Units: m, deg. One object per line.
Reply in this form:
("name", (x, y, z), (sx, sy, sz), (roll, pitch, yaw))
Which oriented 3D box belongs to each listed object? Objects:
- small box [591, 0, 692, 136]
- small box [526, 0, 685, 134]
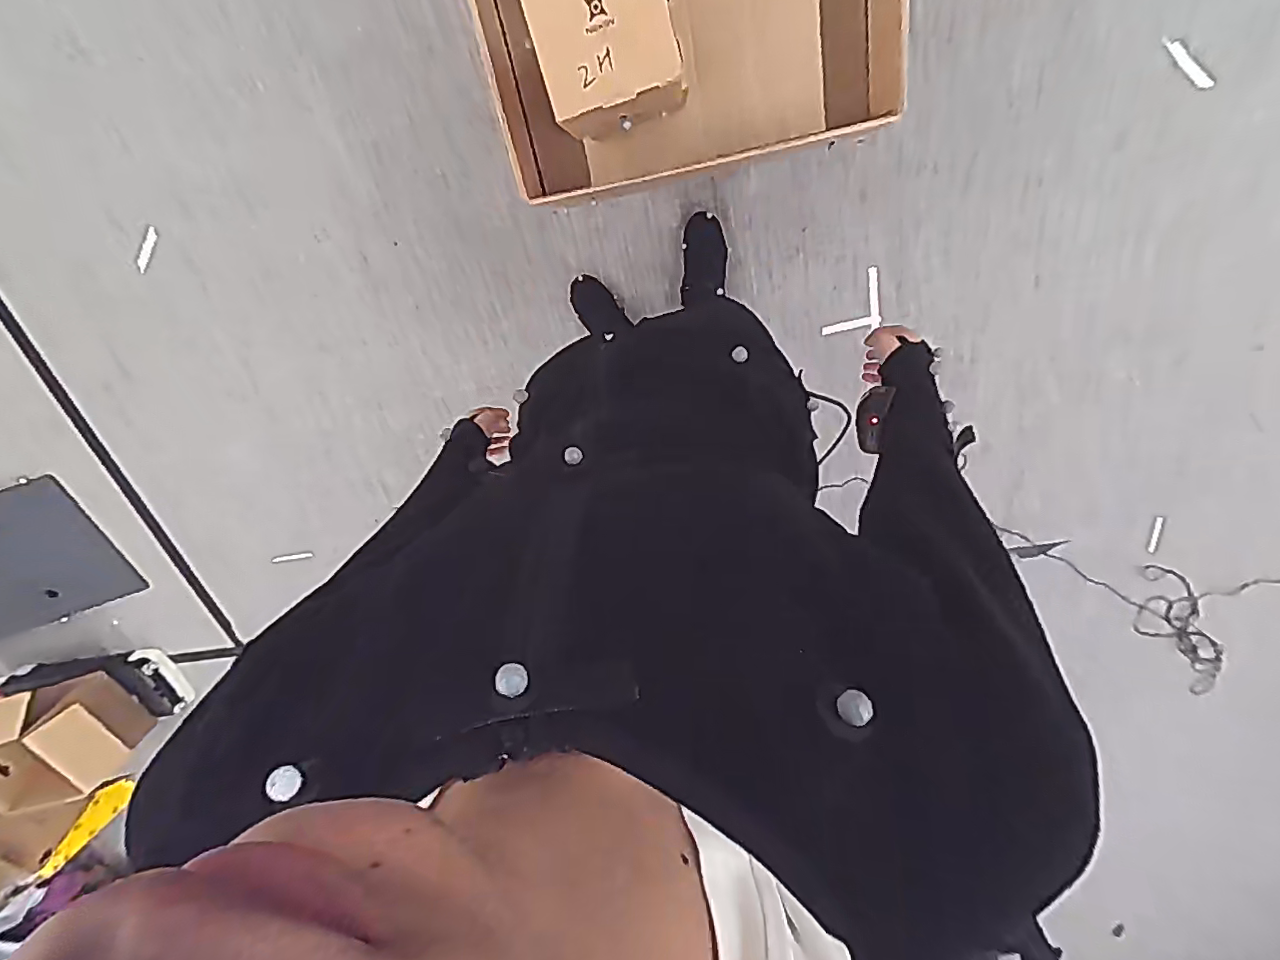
("small box", (-0.027, -0.663, 0.843), (0.179, 0.176, 0.168), (-15, 115, 11))
("small box", (-0.043, -0.580, 0.702), (0.168, 0.176, 0.179), (-14, 116, 9))
